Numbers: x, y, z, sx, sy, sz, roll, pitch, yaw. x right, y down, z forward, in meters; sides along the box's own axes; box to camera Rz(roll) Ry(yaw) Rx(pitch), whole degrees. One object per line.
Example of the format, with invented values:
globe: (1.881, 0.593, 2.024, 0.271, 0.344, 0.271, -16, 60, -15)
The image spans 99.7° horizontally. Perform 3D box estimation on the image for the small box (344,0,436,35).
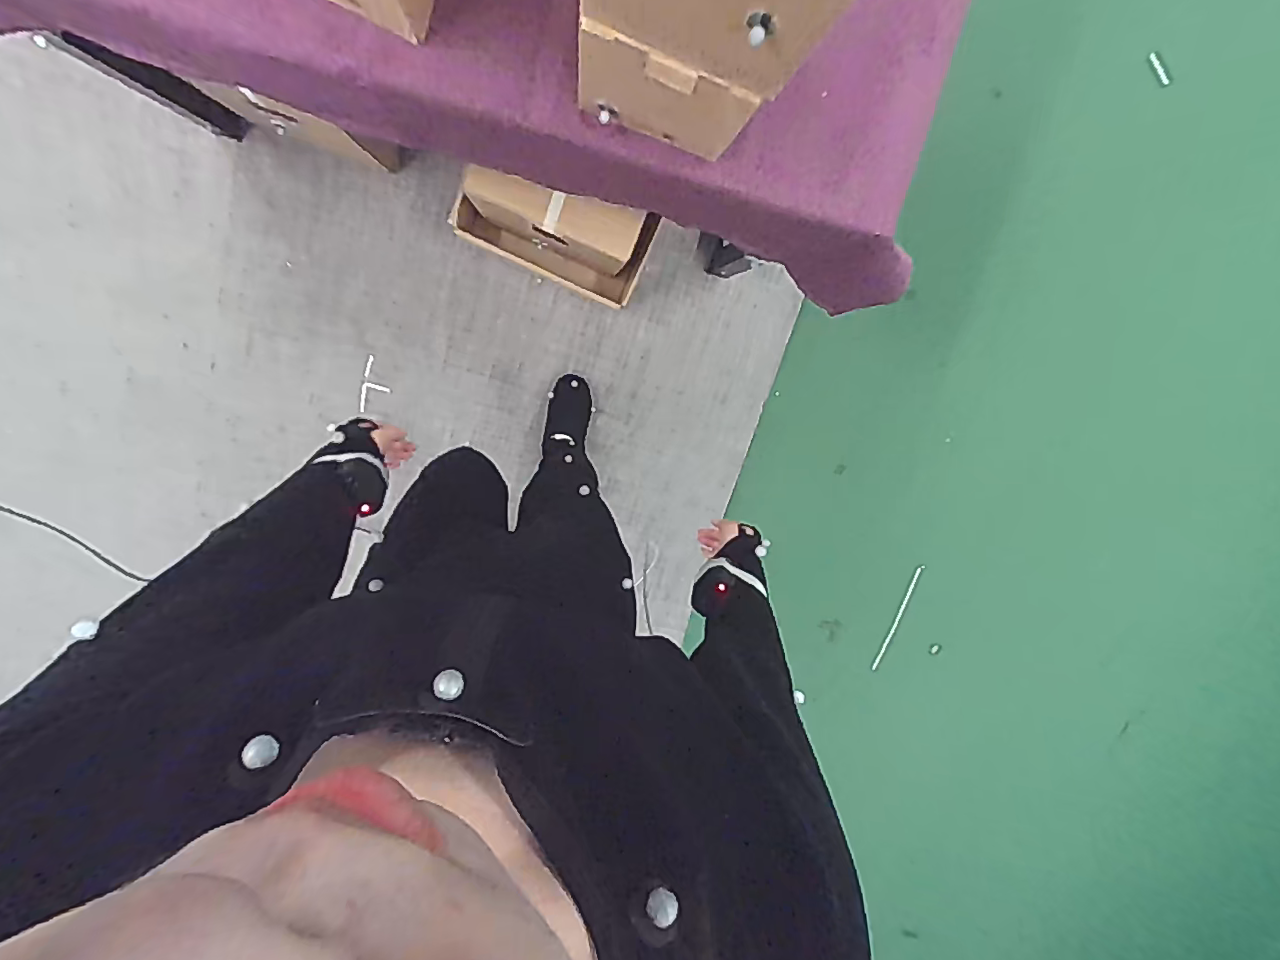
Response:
small box: (-0.254, -0.538, 0.450, 0.168, 0.176, 0.179, 21, 103, -12)

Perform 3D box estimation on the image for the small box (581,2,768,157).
small box: (0.047, -0.444, 0.513, 0.168, 0.176, 0.179, 16, 102, -11)

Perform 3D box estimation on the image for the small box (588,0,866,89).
small box: (0.071, -0.402, 0.357, 0.179, 0.176, 0.168, 17, 102, -11)
